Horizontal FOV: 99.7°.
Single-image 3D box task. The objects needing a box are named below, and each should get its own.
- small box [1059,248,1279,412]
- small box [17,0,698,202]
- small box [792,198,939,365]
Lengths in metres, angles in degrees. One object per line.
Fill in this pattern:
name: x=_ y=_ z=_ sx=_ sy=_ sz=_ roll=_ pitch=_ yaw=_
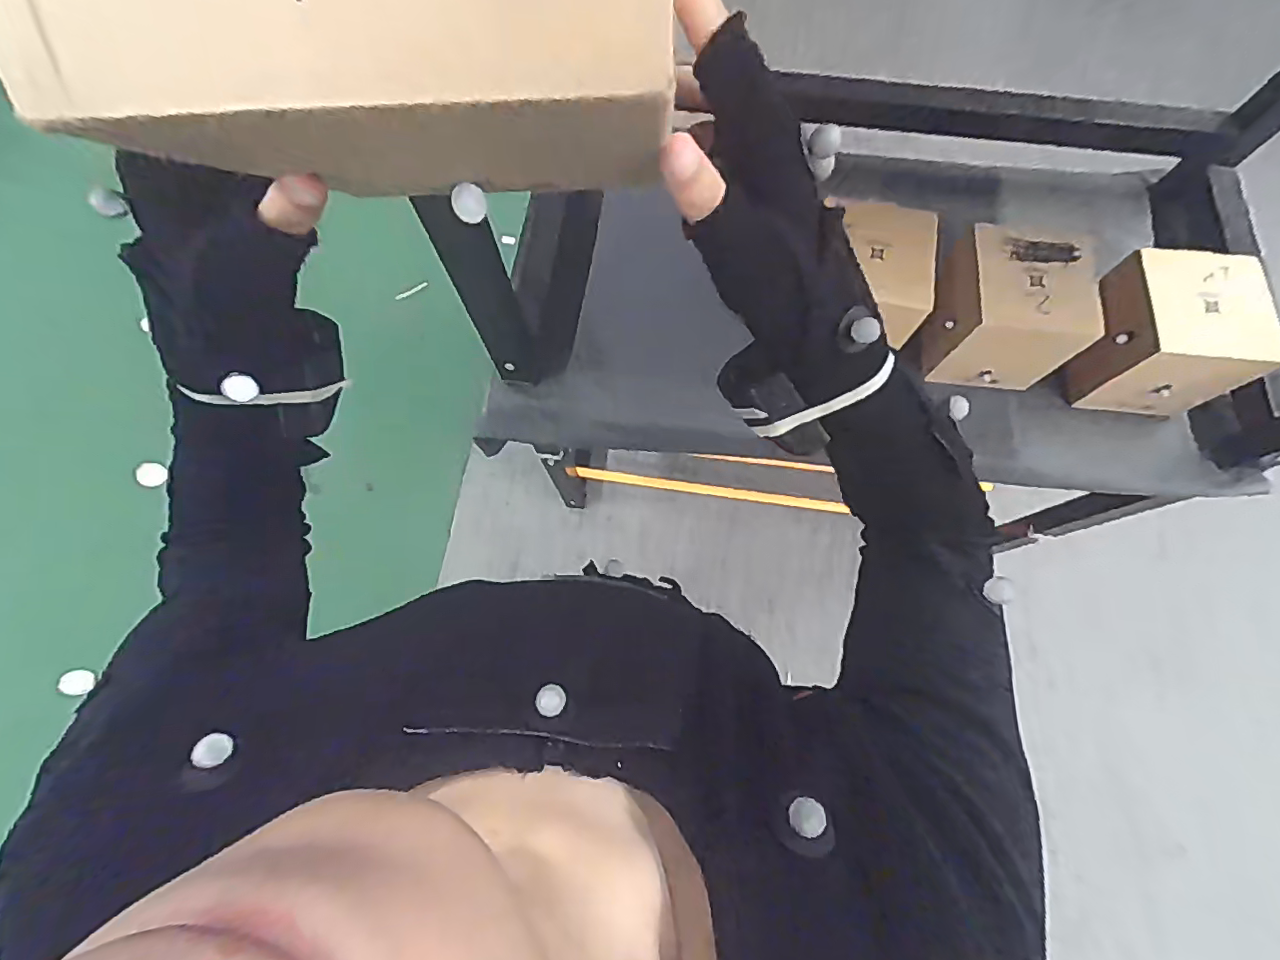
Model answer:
small box: x=0.785 y=-0.218 z=0.821 sx=0.168 sy=0.176 sz=0.179 roll=6 pitch=71 yaw=2
small box: x=-0.066 y=-0.200 z=0.181 sx=0.168 sy=0.176 sz=0.179 roll=0 pitch=113 yaw=3
small box: x=0.347 y=-0.305 z=0.858 sx=0.168 sy=0.176 sz=0.179 roll=11 pitch=72 yaw=4
